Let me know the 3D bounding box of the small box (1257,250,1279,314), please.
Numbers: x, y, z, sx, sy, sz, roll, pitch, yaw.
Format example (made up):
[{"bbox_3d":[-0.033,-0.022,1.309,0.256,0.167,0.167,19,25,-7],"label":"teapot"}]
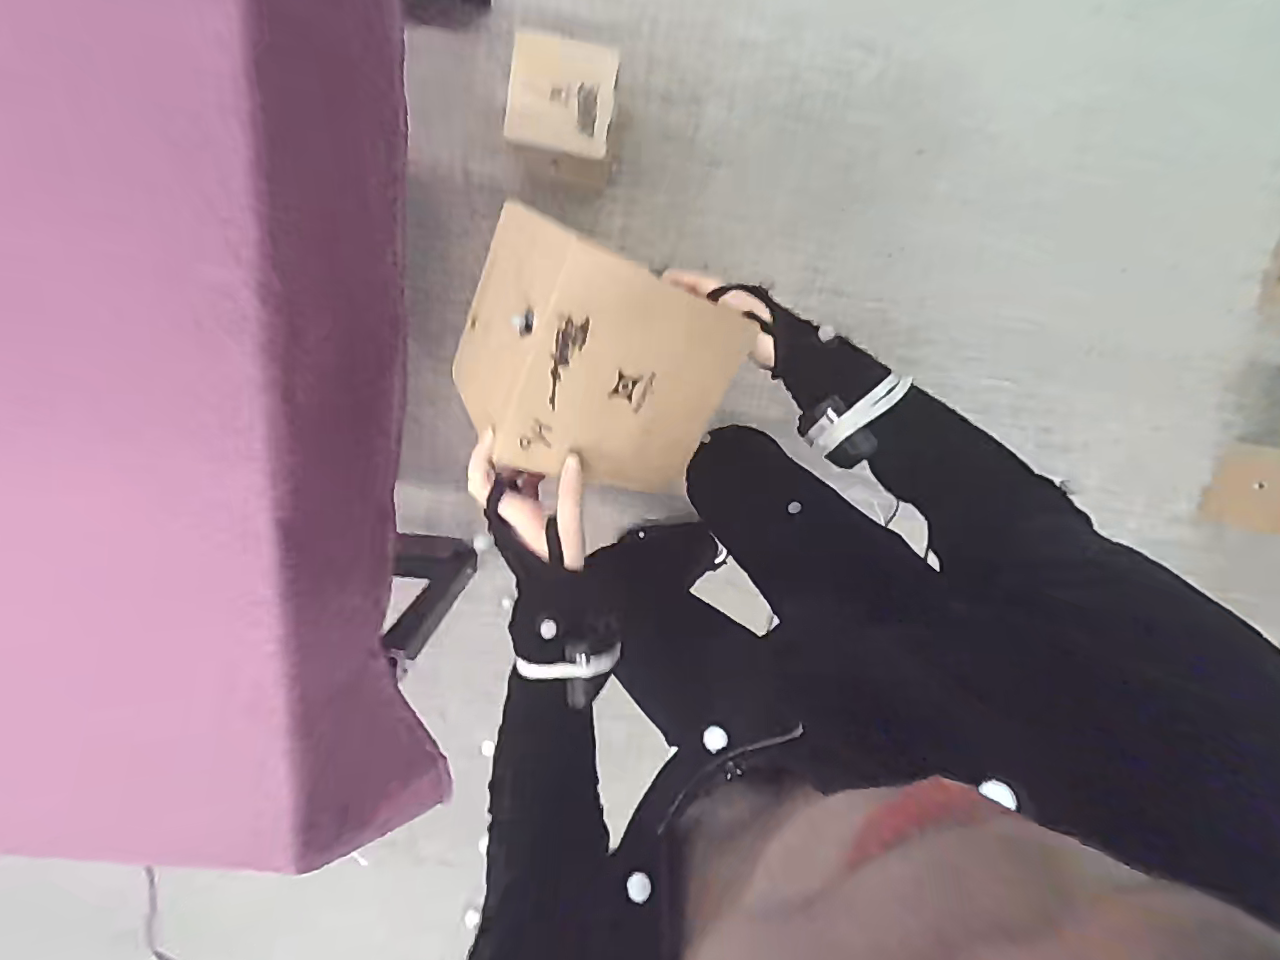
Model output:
[{"bbox_3d":[1.406,-0.413,1.064,0.179,0.176,0.168,7,104,-3],"label":"small box"}]
